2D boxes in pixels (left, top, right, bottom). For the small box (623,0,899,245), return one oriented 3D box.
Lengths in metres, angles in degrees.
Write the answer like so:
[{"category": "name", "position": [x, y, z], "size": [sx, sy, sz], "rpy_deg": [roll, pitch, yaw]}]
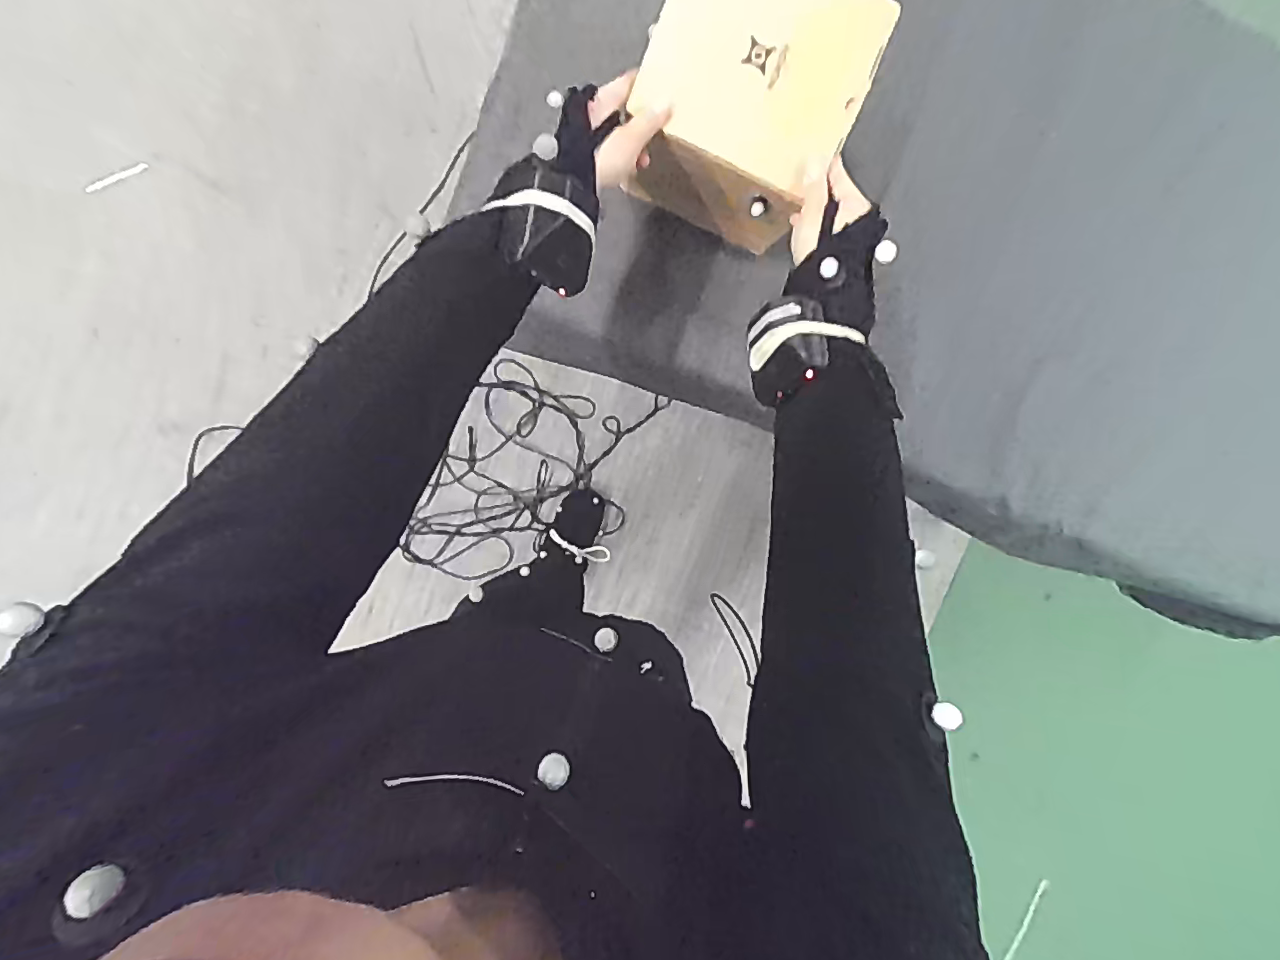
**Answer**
[{"category": "small box", "position": [0.092, -0.347, 0.507], "size": [0.179, 0.176, 0.168], "rpy_deg": [22, 98, -8]}]
